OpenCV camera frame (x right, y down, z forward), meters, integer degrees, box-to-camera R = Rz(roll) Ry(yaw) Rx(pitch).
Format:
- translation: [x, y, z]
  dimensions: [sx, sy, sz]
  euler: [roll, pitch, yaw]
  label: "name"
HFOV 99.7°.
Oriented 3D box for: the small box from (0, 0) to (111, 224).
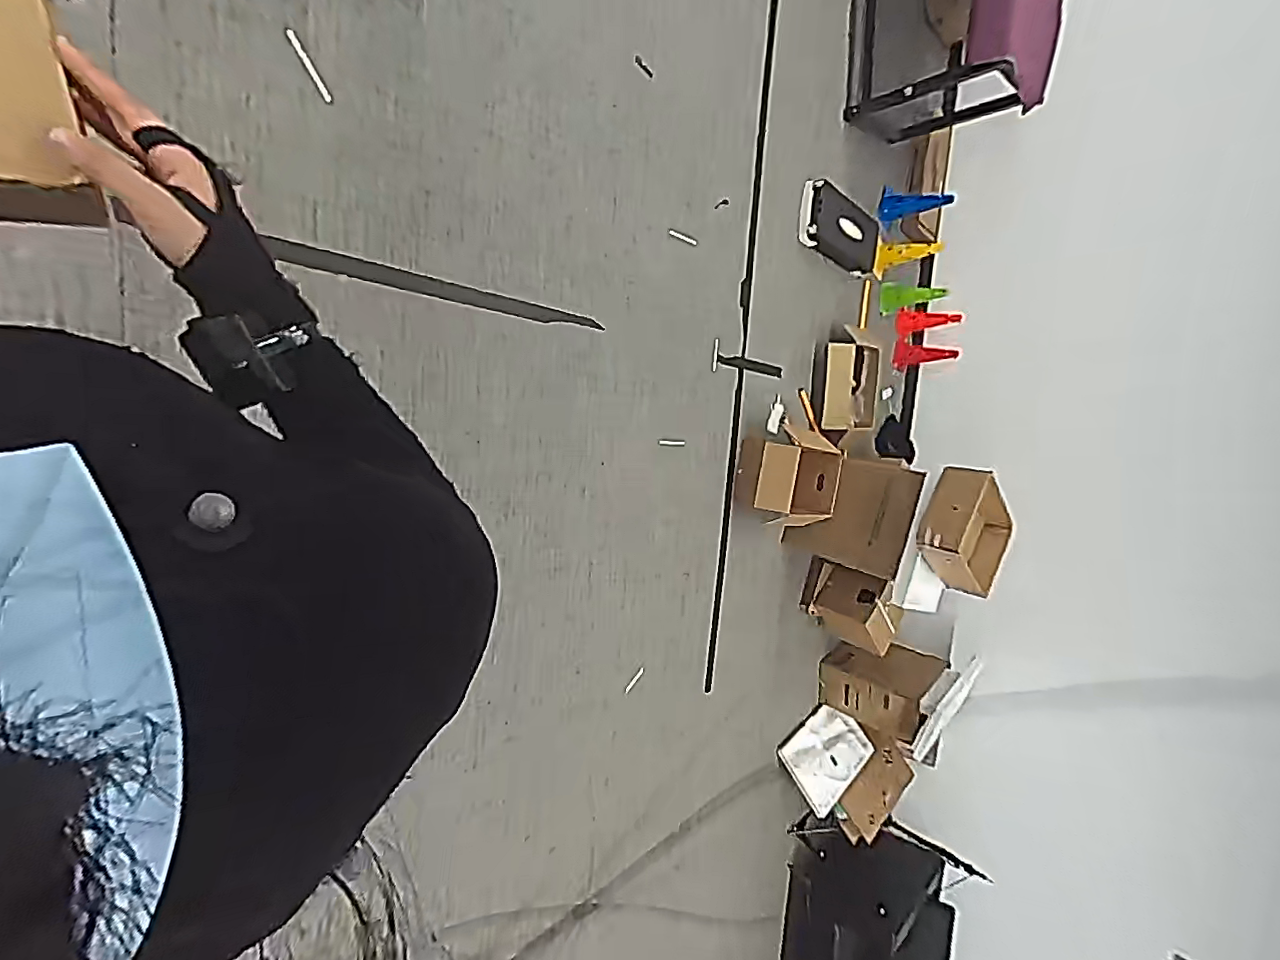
- translation: [-0.459, -0.270, 0.328]
  dimensions: [0.168, 0.176, 0.179]
  euler: [-14, 111, -38]
  label: "small box"
